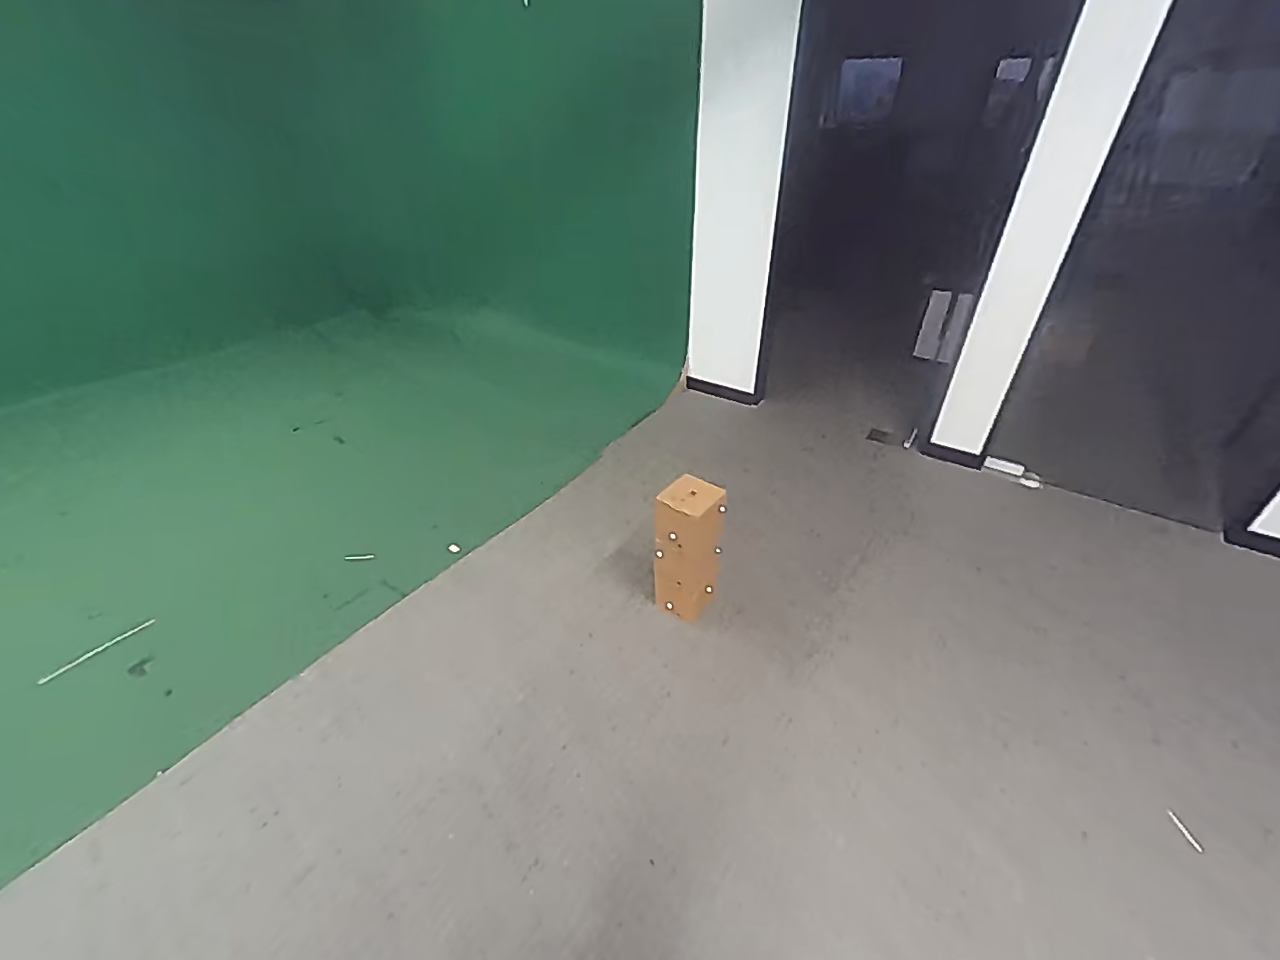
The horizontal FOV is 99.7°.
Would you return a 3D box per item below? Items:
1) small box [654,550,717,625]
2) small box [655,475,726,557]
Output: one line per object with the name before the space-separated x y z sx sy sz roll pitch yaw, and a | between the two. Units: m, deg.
small box | 0.159 0.385 1.958 0.168 0.176 0.179 23 41 28
small box | 0.160 0.117 1.768 0.168 0.176 0.179 25 43 31
